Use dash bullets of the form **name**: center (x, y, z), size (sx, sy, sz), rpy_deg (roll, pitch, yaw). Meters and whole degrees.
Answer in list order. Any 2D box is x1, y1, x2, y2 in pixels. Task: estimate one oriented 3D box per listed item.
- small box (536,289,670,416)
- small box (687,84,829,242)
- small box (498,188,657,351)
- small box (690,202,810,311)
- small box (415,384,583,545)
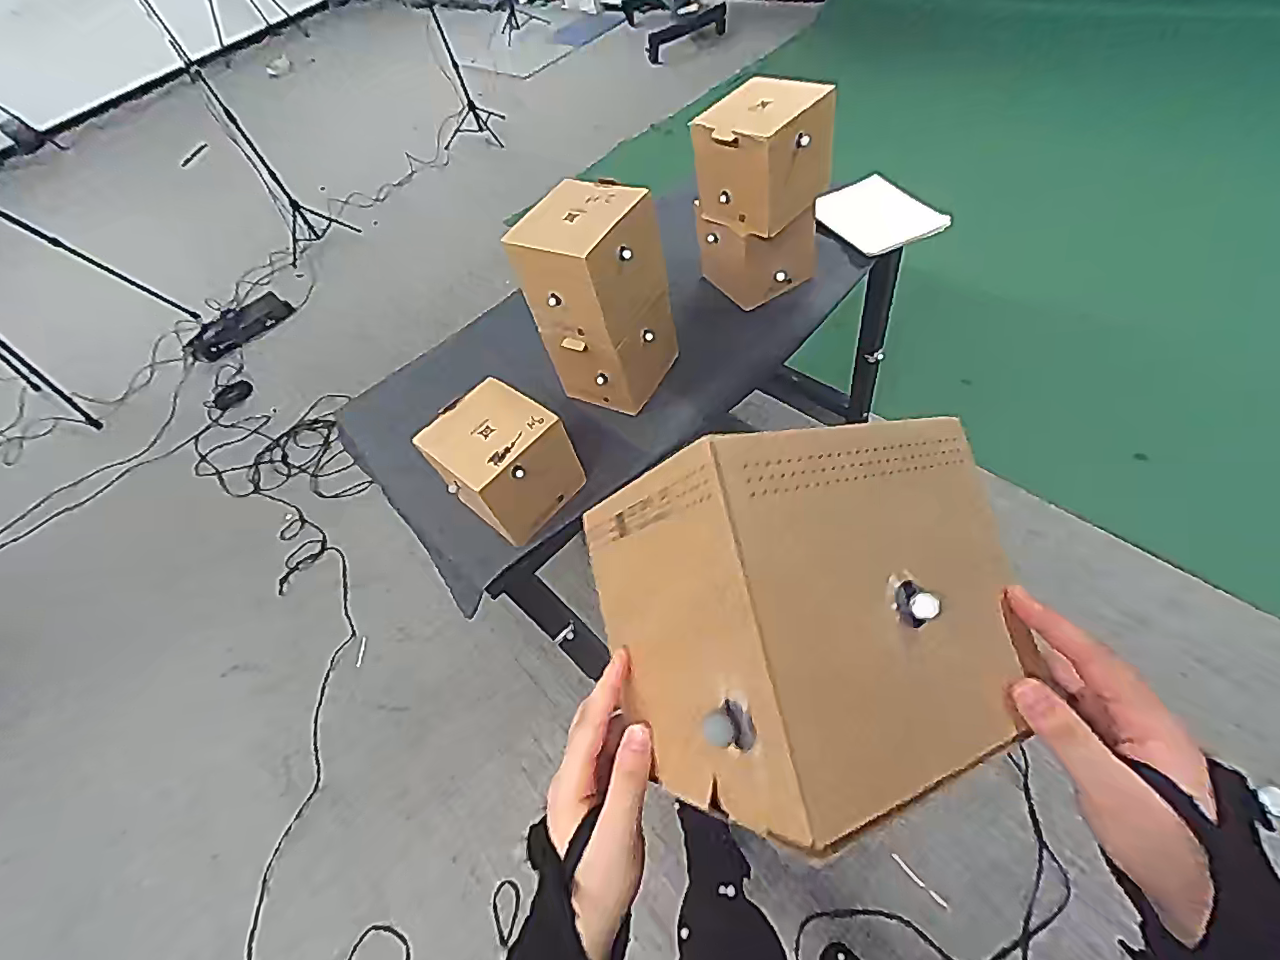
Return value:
- **small box**: center (-0.057, -0.246, 1.008), size (0.168, 0.176, 0.179), rpy_deg (20, 62, 25)
- **small box**: center (0.207, -0.558, 0.954), size (0.179, 0.176, 0.168), rpy_deg (-44, 56, -16)
- **small box**: center (-0.087, -0.337, 0.874), size (0.168, 0.176, 0.179), rpy_deg (23, 63, 26)
- **small box**: center (0.221, -0.477, 1.097), size (0.168, 0.176, 0.179), rpy_deg (-30, 54, -7)
- **small box**: center (-0.223, -0.022, 0.889), size (0.179, 0.176, 0.168), rpy_deg (31, 67, 30)
